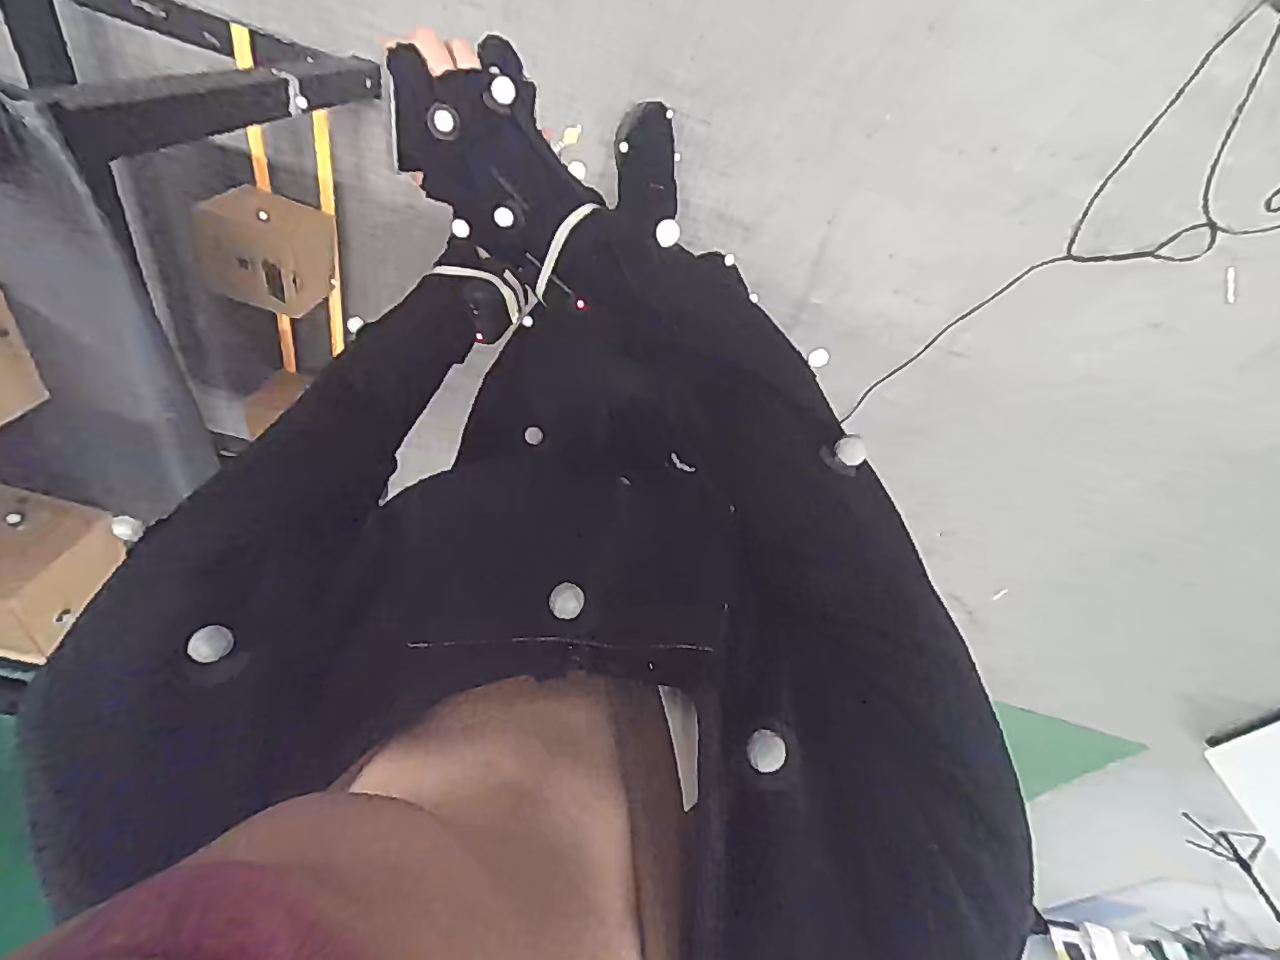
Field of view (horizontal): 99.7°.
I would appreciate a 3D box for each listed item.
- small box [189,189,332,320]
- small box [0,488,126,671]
[{"bbox_3d":[-0.741,-0.454,1.080,0.179,0.176,0.168,17,129,-11],"label":"small box"},{"bbox_3d":[-0.902,0.142,0.777,0.168,0.176,0.179,17,129,-11],"label":"small box"}]
